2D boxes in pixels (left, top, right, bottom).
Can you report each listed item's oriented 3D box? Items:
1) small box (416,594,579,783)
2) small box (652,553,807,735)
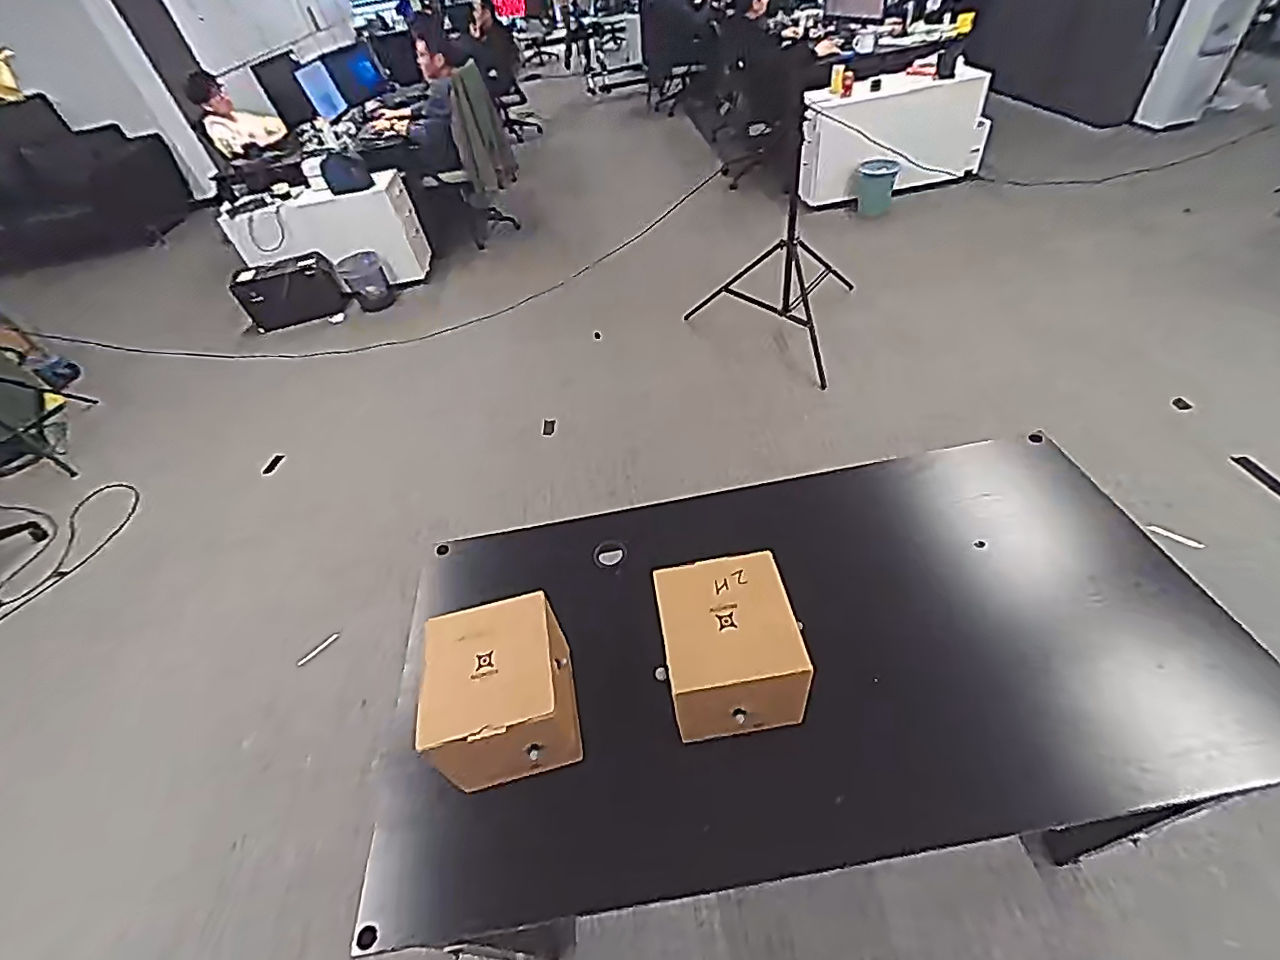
[{"bbox_3d":[-0.186,0.289,0.736,0.168,0.176,0.179,-13,45,-4],"label":"small box"},{"bbox_3d":[0.116,0.229,0.736,0.168,0.176,0.179,-10,45,0],"label":"small box"}]
